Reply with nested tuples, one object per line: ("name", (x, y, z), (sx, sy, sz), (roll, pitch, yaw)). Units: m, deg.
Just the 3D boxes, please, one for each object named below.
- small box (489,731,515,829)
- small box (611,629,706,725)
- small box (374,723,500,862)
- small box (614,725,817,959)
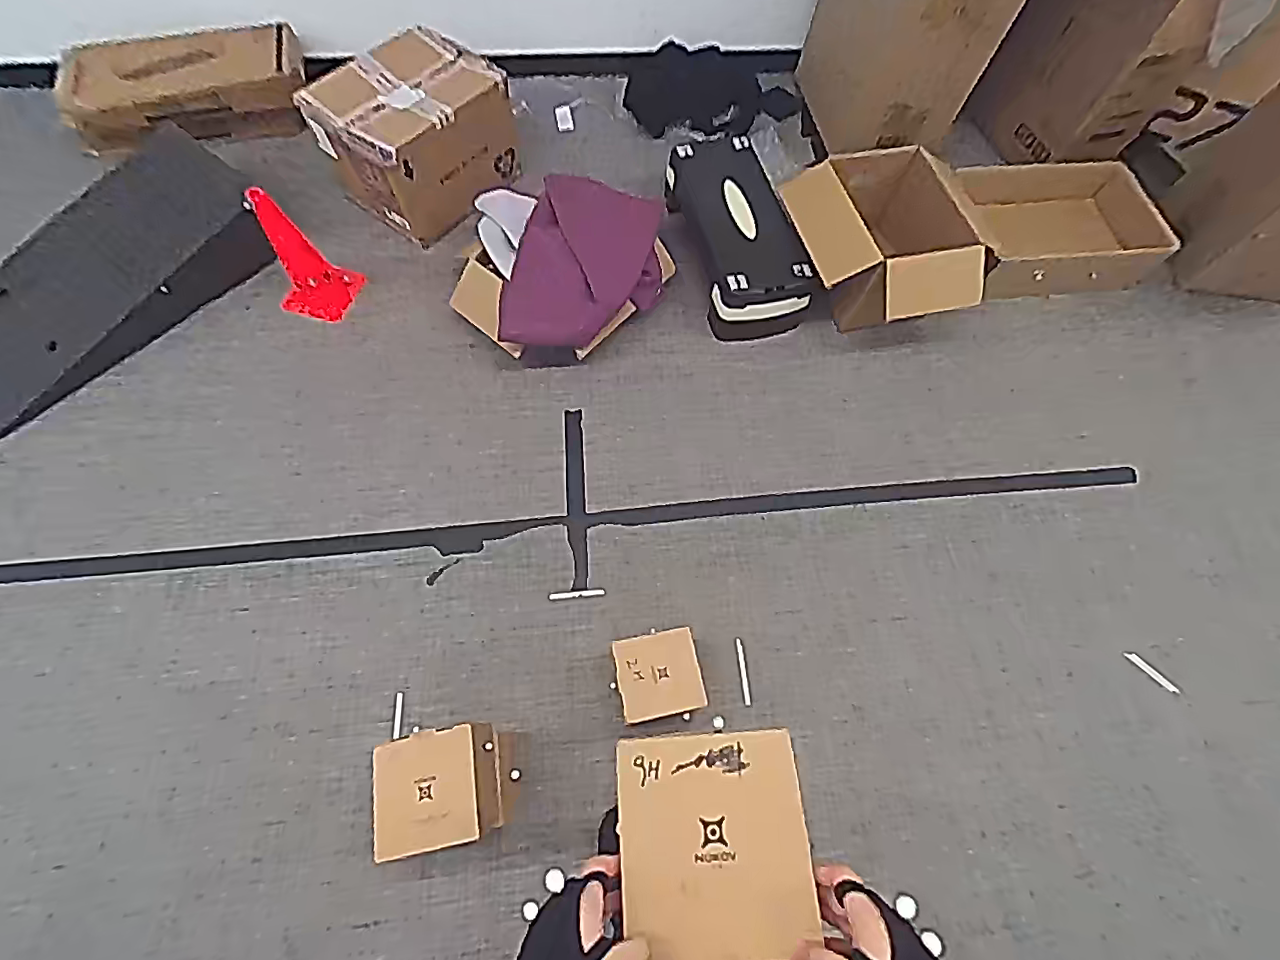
("small box", (-0.360, 0.616, 1.105), (0.179, 0.176, 0.168), (-7, 67, -6))
("small box", (0.033, 0.439, 1.203), (0.179, 0.176, 0.168), (-10, 67, -7))
("small box", (-0.355, 0.540, 0.960), (0.168, 0.176, 0.179), (-11, 68, -6))
("small box", (0.067, 0.350, 0.549), (0.168, 0.176, 0.179), (-5, 65, 2))
